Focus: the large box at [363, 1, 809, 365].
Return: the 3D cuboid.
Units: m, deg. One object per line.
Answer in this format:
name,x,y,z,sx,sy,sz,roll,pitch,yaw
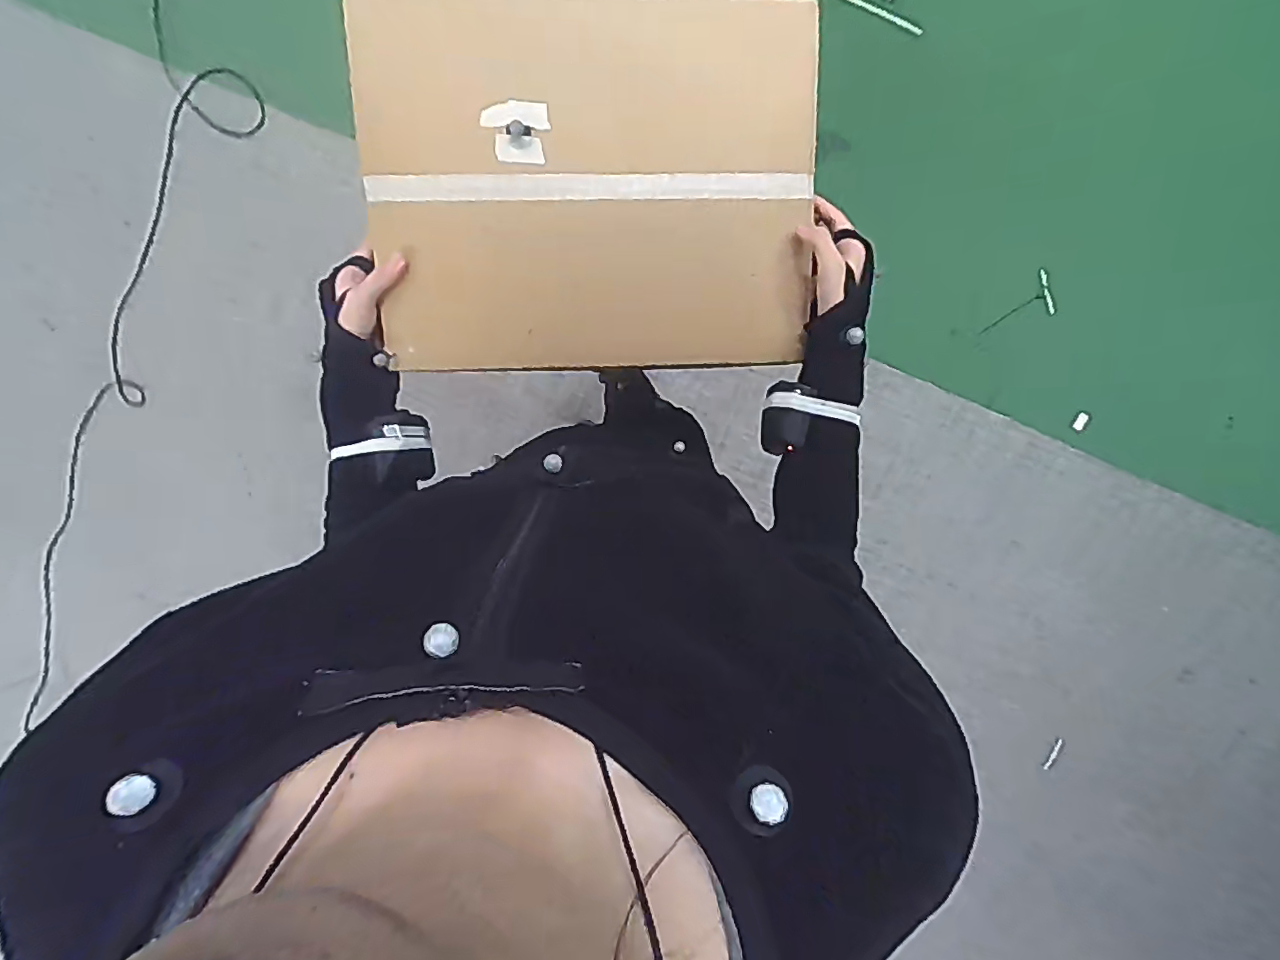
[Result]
large box,-0.047,-0.301,0.652,0.408,0.320,0.320,-1,101,-3
